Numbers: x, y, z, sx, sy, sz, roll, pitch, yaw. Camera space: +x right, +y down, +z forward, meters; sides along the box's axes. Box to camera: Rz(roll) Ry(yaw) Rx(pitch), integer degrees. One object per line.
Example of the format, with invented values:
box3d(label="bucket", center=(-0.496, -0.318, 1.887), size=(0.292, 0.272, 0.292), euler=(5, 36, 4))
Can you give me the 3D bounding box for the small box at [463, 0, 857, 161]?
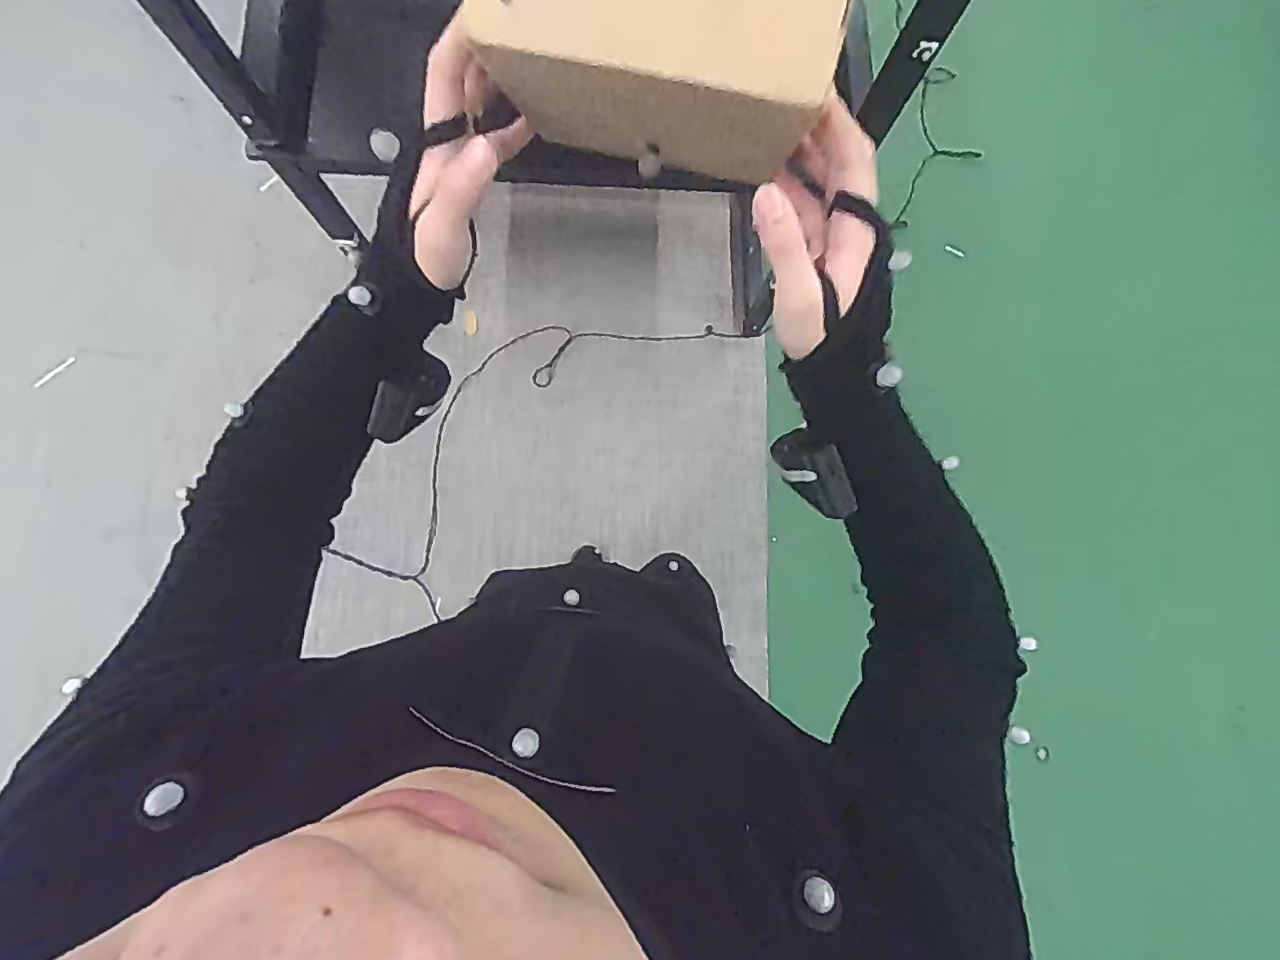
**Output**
box3d(label="small box", center=(0.022, -0.295, 0.297), size=(0.179, 0.176, 0.168), euler=(11, 109, -1))
